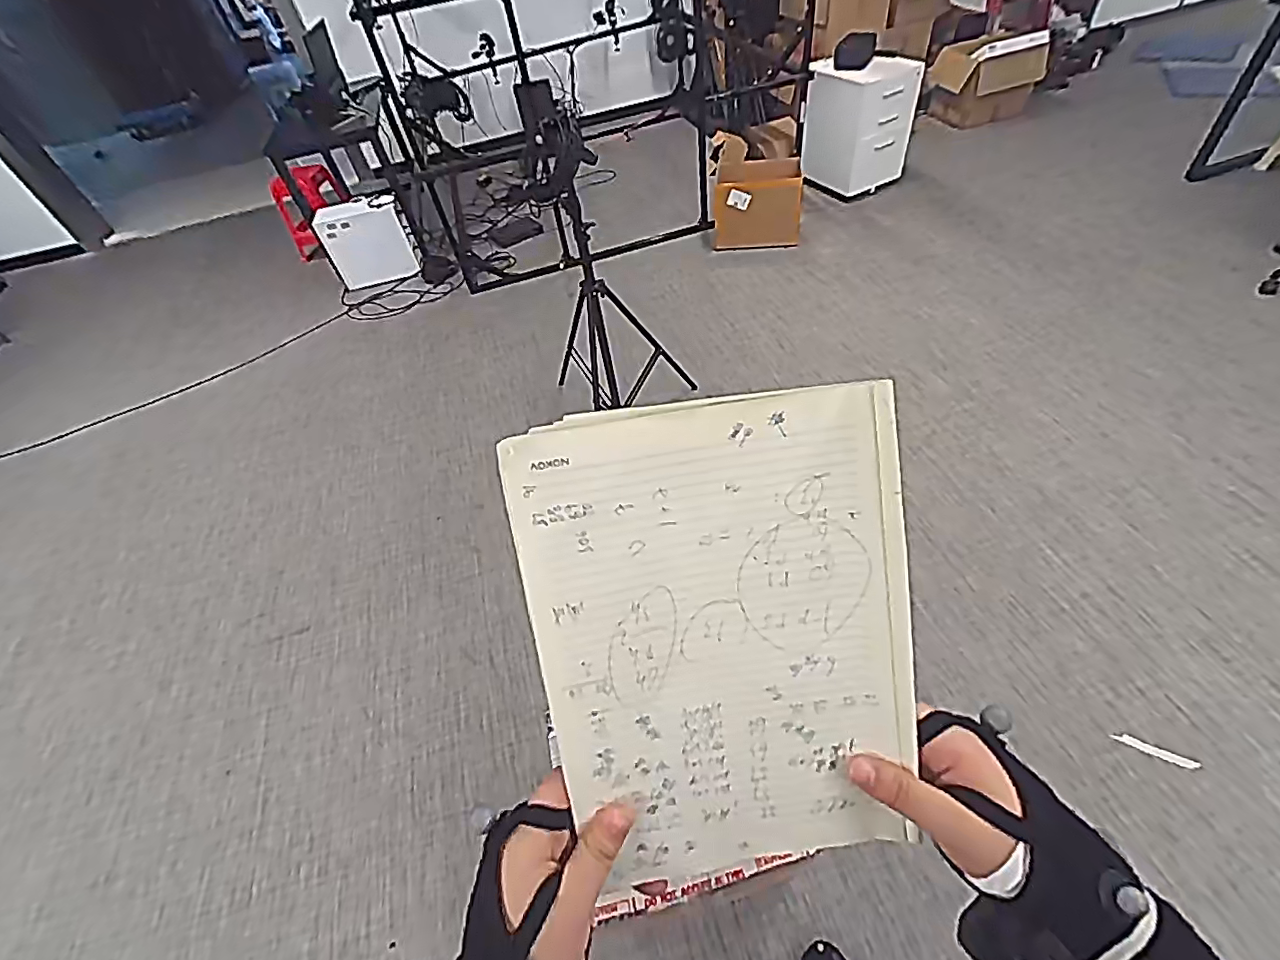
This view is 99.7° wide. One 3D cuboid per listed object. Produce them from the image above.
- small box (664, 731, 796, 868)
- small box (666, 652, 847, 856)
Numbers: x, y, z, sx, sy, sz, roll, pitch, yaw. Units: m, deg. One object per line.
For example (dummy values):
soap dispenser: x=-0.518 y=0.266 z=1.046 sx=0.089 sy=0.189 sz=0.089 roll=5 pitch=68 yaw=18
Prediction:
small box: x=0.146 y=0.462 z=0.824 sx=0.179 sy=0.176 sz=0.168 roll=-18 pitch=50 yaw=-8
small box: x=0.135 y=0.355 z=0.699 sx=0.168 sy=0.176 sz=0.179 roll=-15 pitch=51 yaw=-6
